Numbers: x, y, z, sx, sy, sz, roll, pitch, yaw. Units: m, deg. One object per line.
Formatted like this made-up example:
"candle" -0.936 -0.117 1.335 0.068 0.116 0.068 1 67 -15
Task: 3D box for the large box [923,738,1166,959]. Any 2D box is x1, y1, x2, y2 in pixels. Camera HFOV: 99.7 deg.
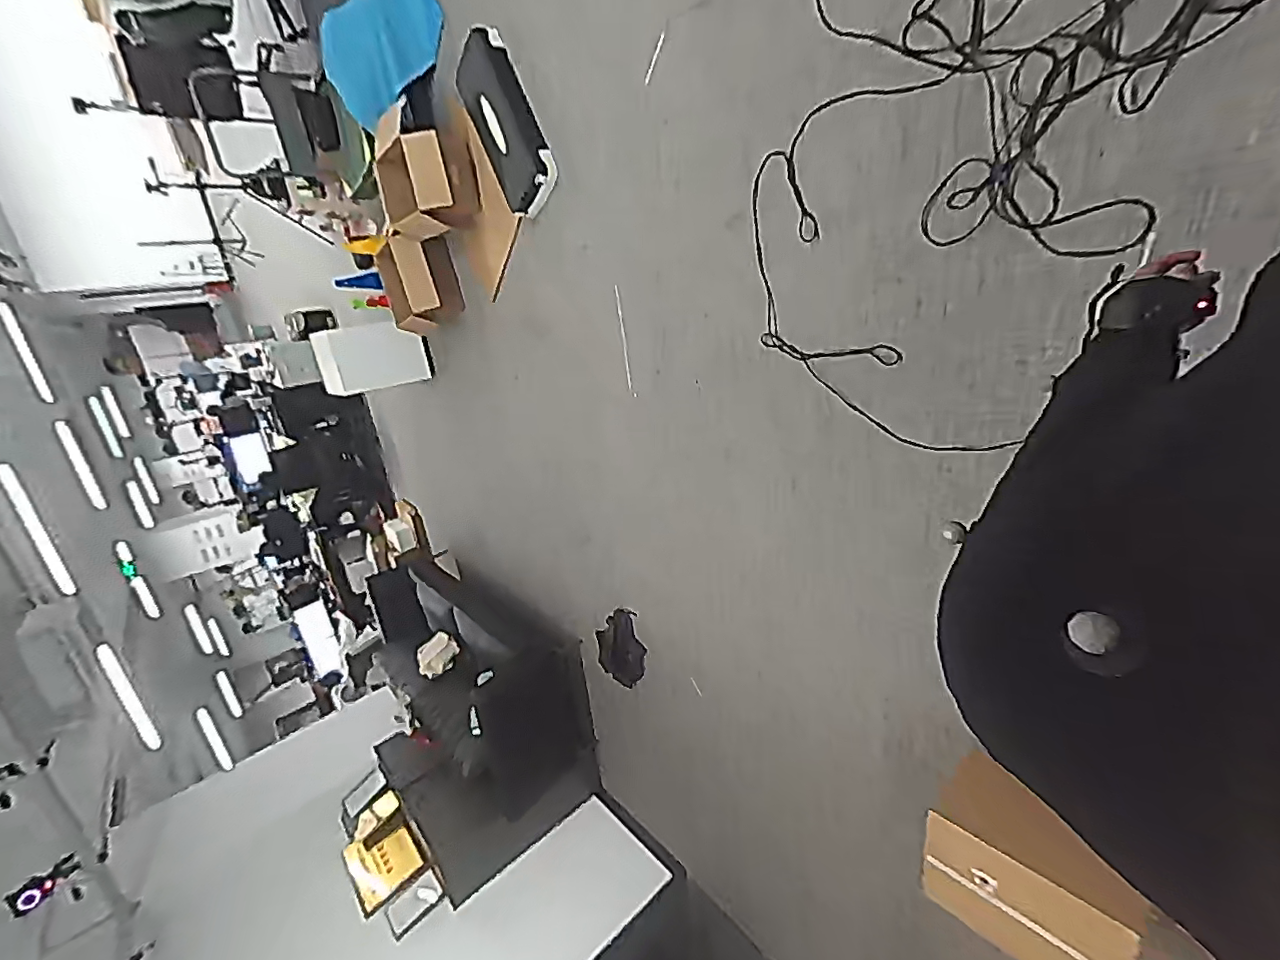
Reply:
"large box" 0.983 0.942 1.342 0.408 0.320 0.320 16 120 49
